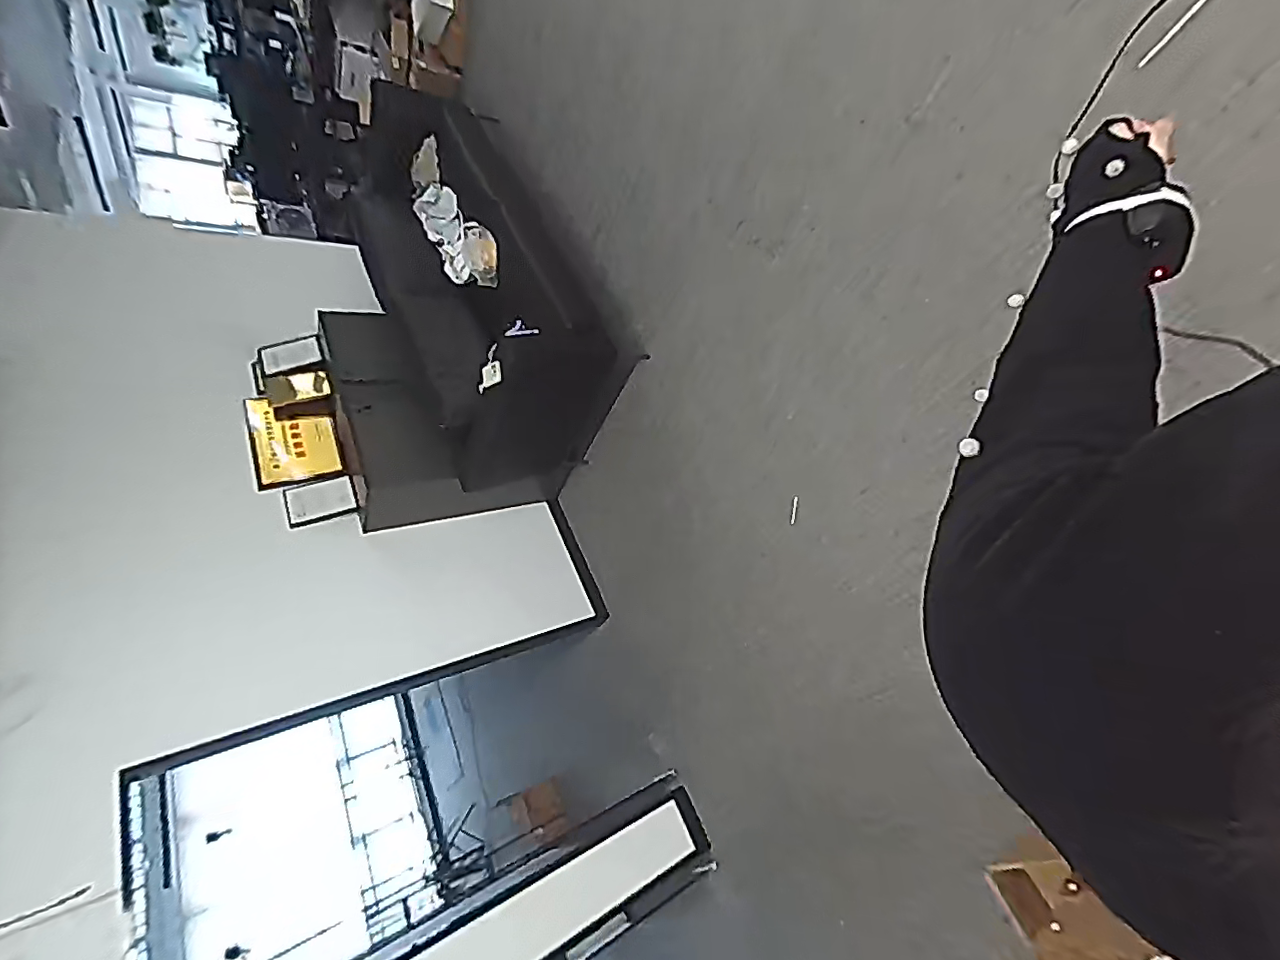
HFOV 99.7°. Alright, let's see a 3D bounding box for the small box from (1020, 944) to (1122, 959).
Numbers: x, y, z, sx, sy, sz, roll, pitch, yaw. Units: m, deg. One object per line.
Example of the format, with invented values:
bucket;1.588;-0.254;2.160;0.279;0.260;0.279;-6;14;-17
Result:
small box;0.790;0.972;0.961;0.179;0.176;0.168;-51;58;46
